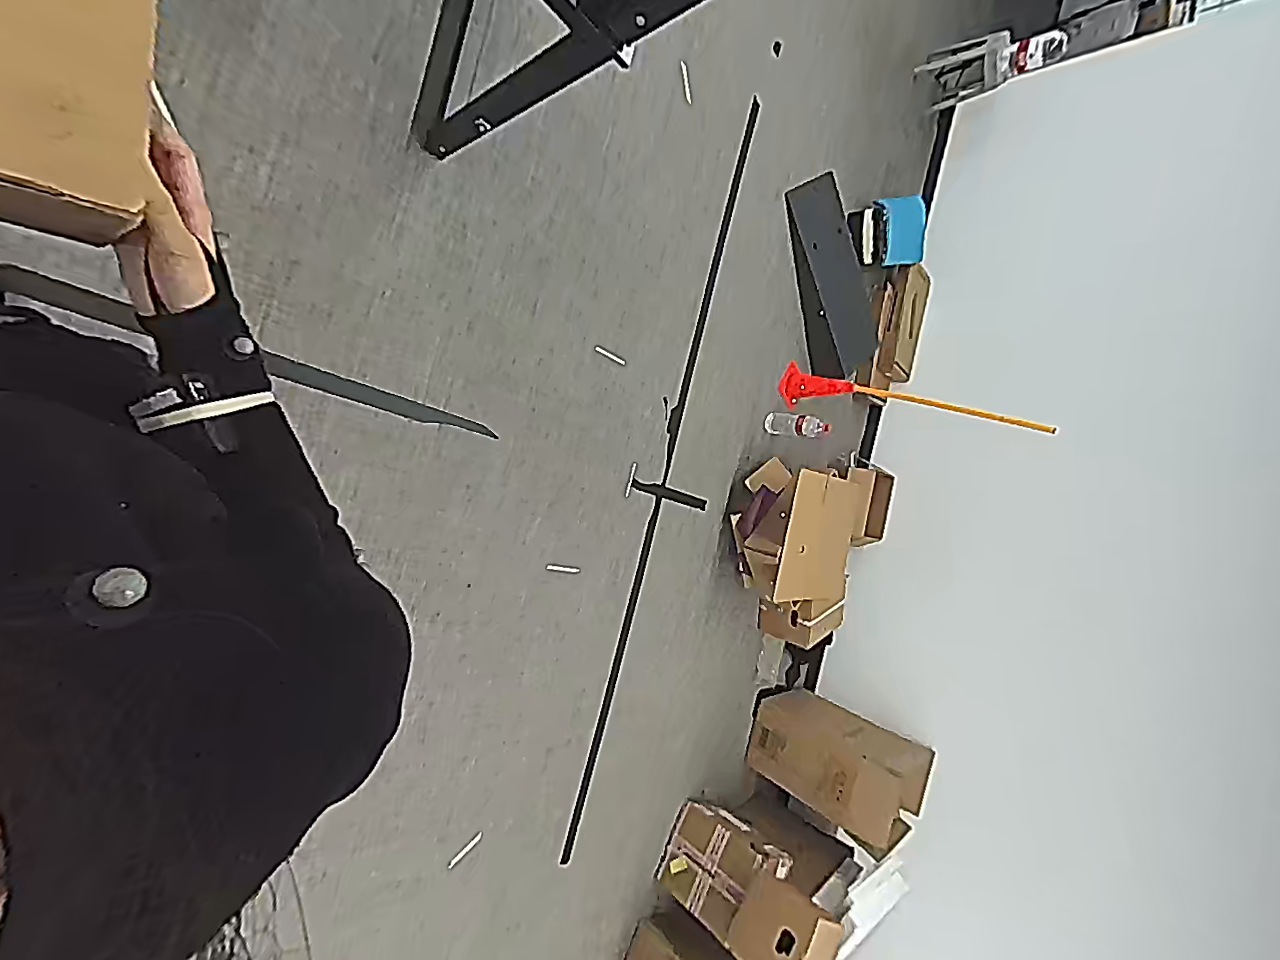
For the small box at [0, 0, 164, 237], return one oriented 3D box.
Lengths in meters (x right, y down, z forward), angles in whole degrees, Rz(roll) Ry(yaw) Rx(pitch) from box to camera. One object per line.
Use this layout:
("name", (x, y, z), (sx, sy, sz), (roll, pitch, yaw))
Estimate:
("small box", (-0.366, -0.241, 0.275), (0.168, 0.176, 0.179), (3, 100, -51))
